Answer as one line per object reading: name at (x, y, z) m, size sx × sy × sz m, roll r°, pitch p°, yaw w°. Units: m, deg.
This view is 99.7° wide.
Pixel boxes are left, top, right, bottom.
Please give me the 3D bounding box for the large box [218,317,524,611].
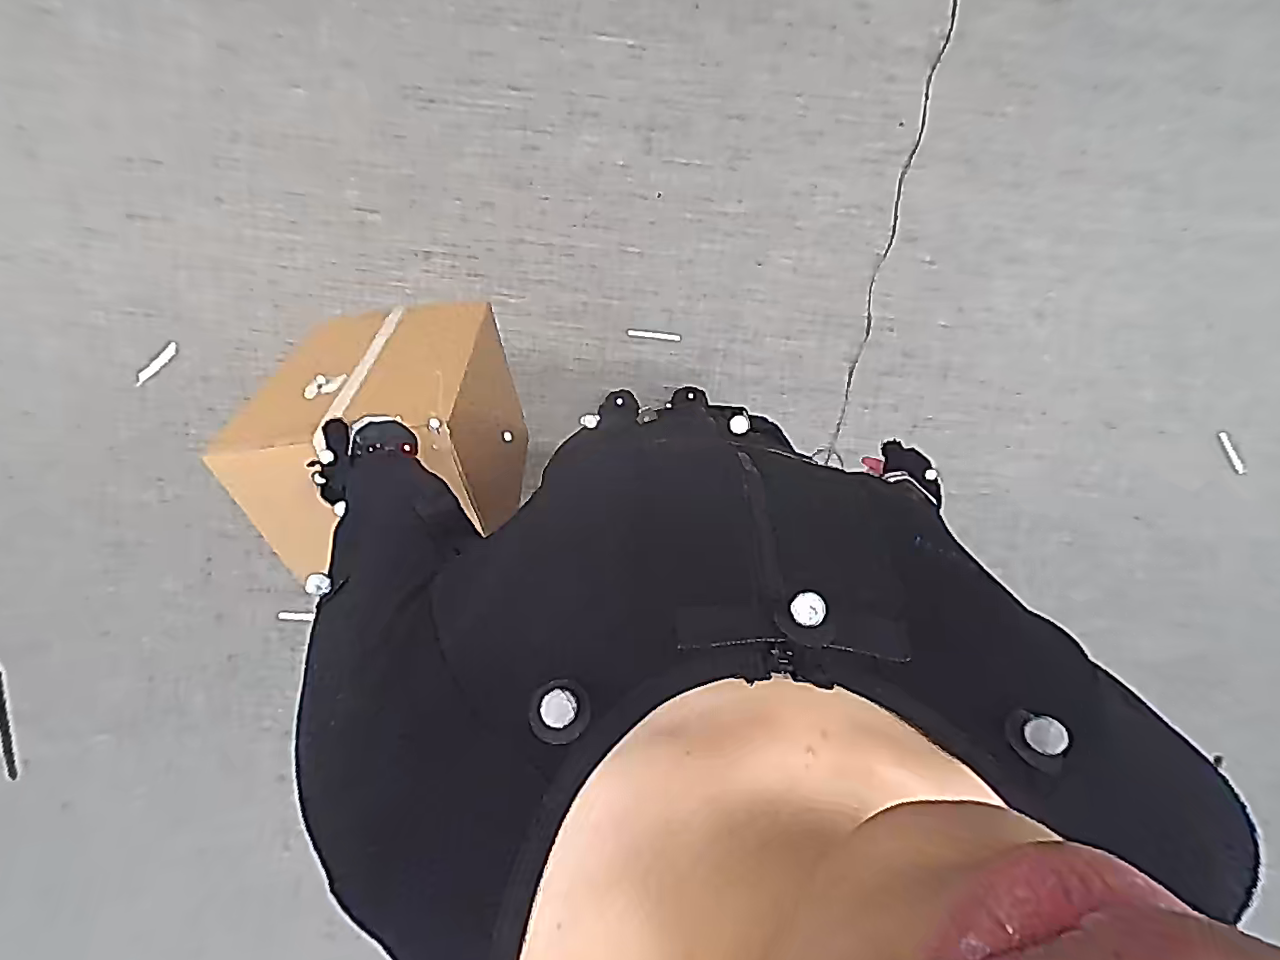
large box at (-0.396, -0.042, 0.936) m, size 0.320 × 0.408 × 0.320 m, roll -8°, pitch 130°, yaw 1°
